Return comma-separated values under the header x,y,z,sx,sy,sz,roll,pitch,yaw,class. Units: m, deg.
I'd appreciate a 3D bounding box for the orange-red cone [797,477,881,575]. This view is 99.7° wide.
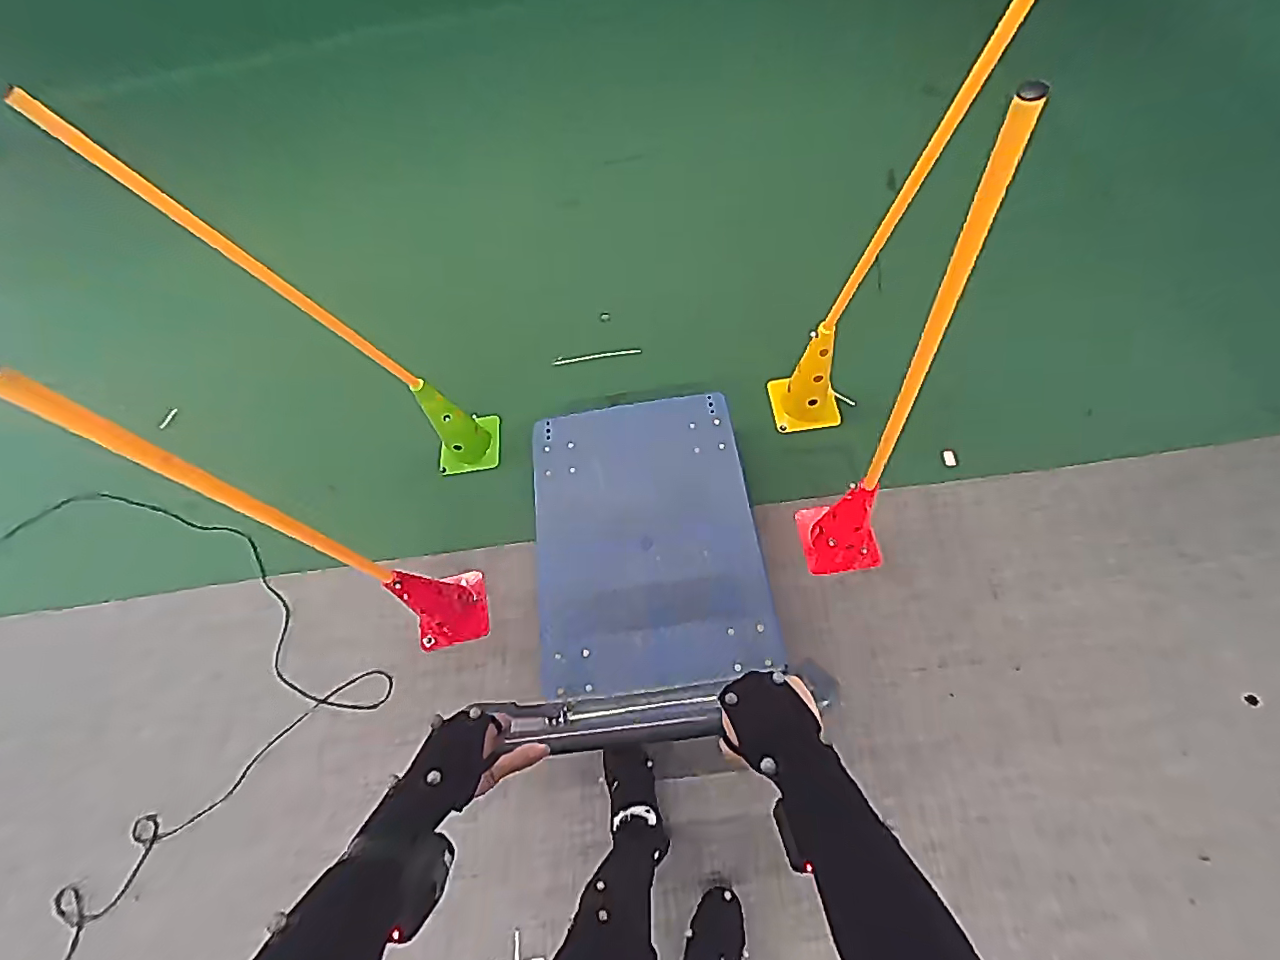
x,y,z,sx,sy,sz,roll,pitch,yaw,class
0.533,0.086,1.356,0.198,0.360,0.199,-8,62,3,orange-red cone

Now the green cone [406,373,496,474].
x,y,z,sx,sy,sz,roll,pitch,yaw,class
-0.592,-0.192,1.628,0.200,0.368,0.202,-9,63,4,green cone
